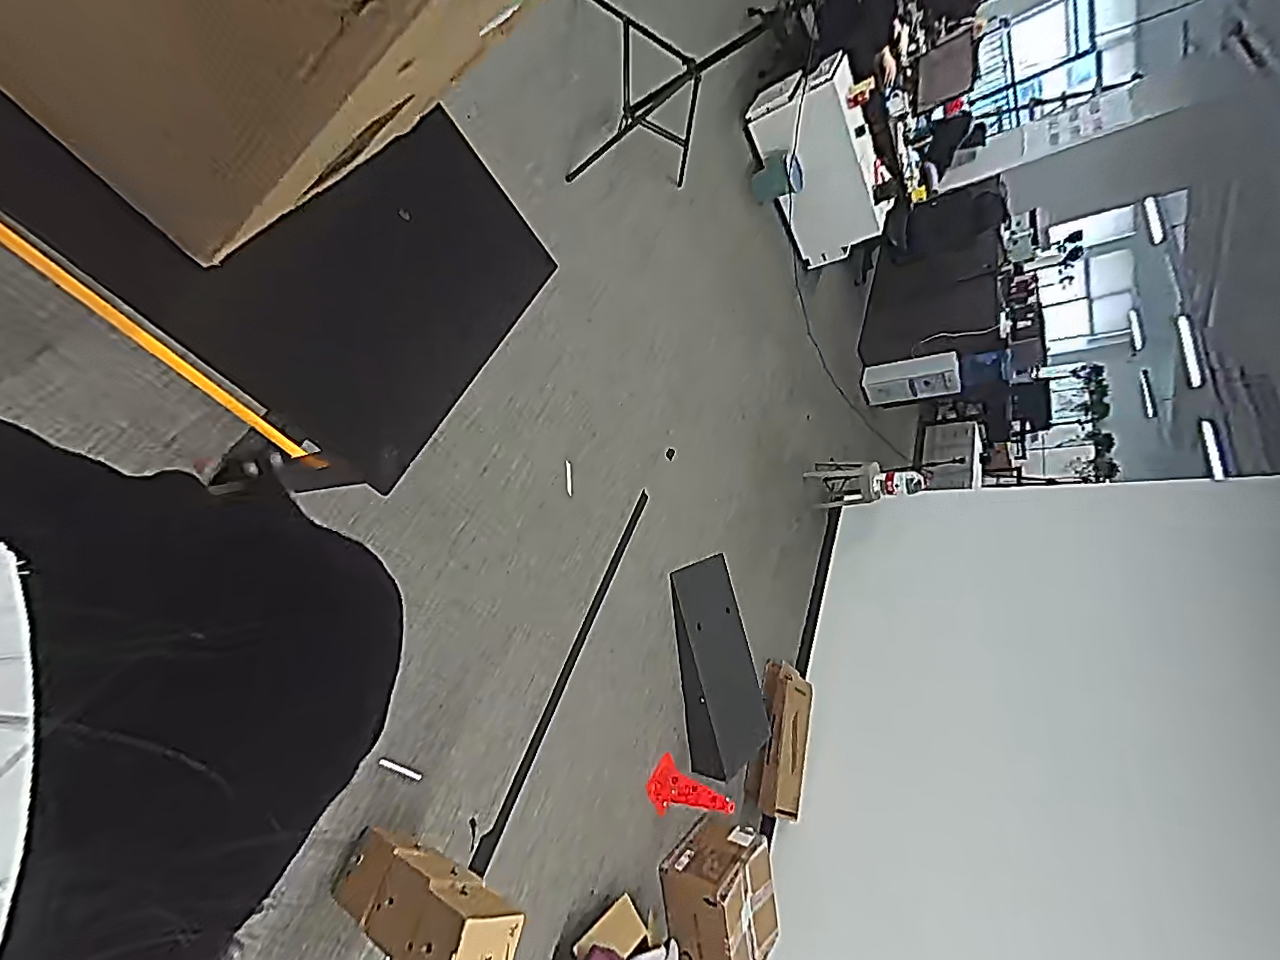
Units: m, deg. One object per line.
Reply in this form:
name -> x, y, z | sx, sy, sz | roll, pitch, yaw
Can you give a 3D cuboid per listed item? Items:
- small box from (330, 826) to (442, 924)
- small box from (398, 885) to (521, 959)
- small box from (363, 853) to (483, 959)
small box -> -0.661, 1.035, 1.414 | 0.179, 0.176, 0.168 | 46, 52, -37
small box -> -0.405, 1.032, 1.207 | 0.179, 0.176, 0.168 | 40, 56, -41
small box -> -0.527, 1.035, 1.317 | 0.179, 0.176, 0.168 | 42, 54, -41
